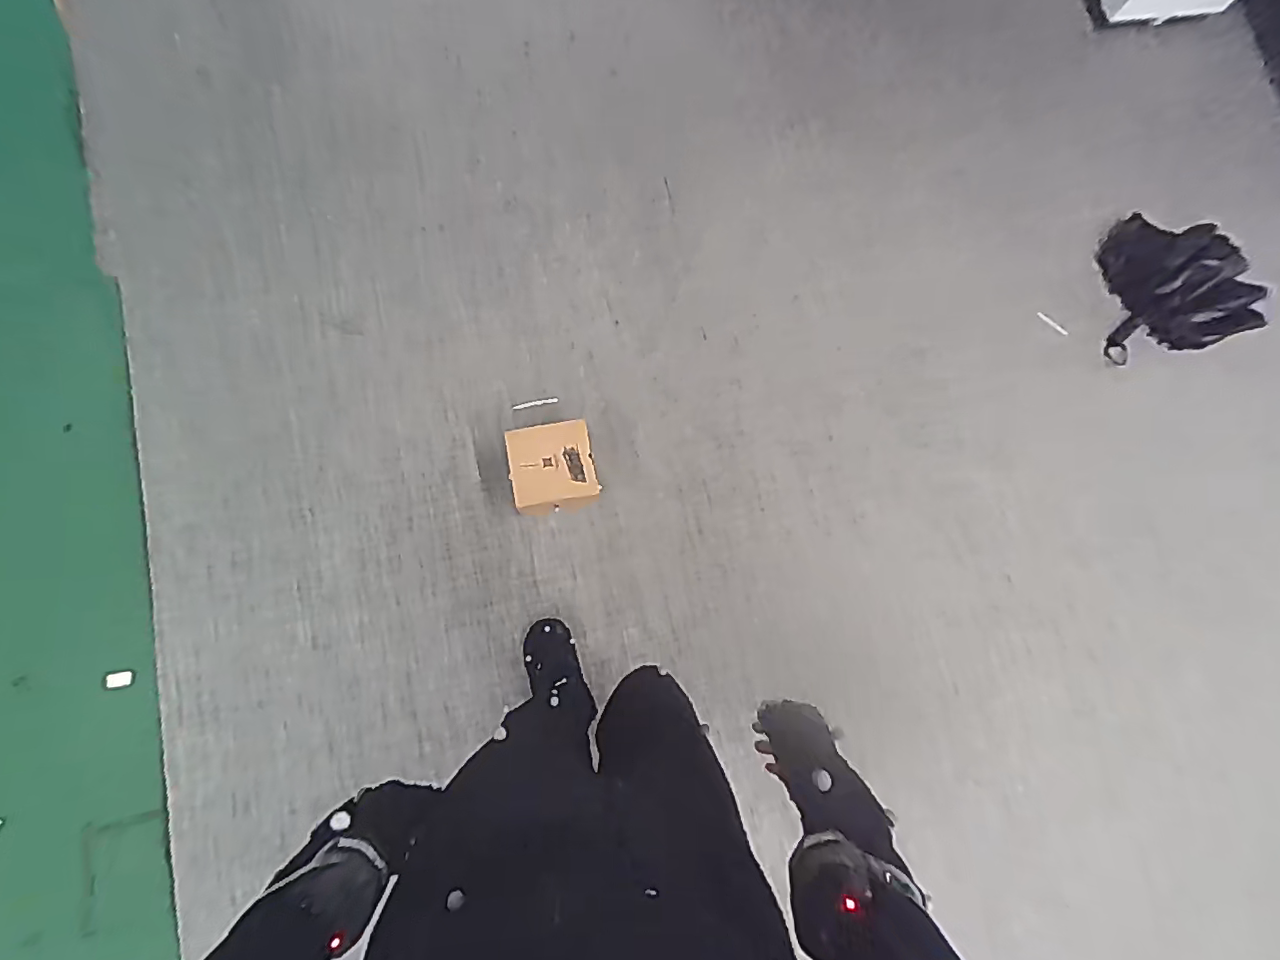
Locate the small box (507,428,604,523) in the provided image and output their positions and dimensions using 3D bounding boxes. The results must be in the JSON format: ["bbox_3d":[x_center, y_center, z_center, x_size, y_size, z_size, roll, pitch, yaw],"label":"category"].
[{"bbox_3d":[-0.188,-0.005,1.213,0.179,0.176,0.168,-13,82,-9],"label":"small box"}]
